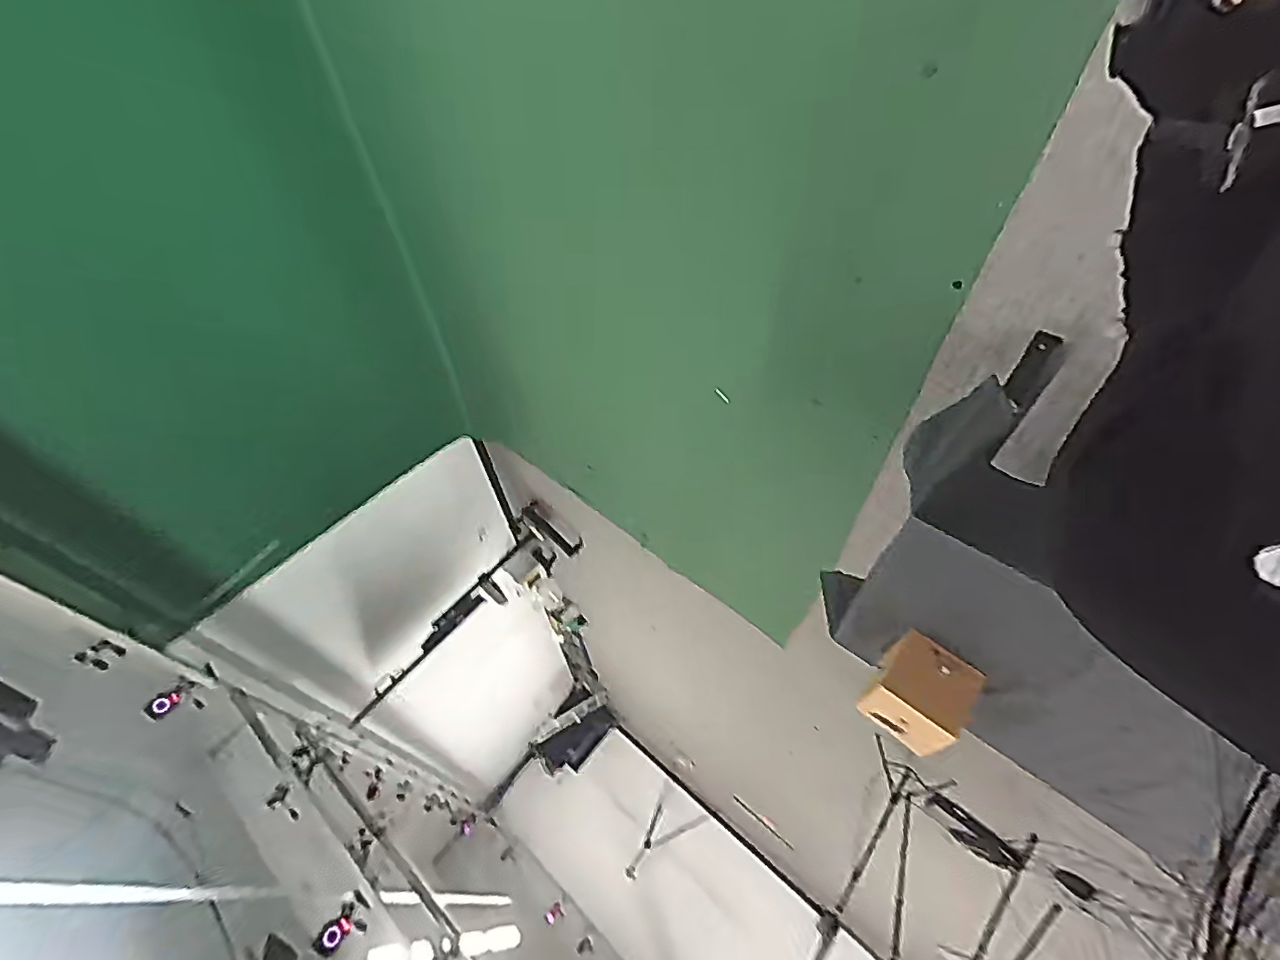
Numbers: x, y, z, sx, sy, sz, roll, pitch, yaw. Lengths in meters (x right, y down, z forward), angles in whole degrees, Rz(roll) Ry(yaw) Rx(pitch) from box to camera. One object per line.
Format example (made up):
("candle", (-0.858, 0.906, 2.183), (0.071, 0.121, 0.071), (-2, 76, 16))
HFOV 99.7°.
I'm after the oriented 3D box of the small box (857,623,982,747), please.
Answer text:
("small box", (0.623, 0.455, 1.206), (0.168, 0.176, 0.179), (34, 150, 22))
